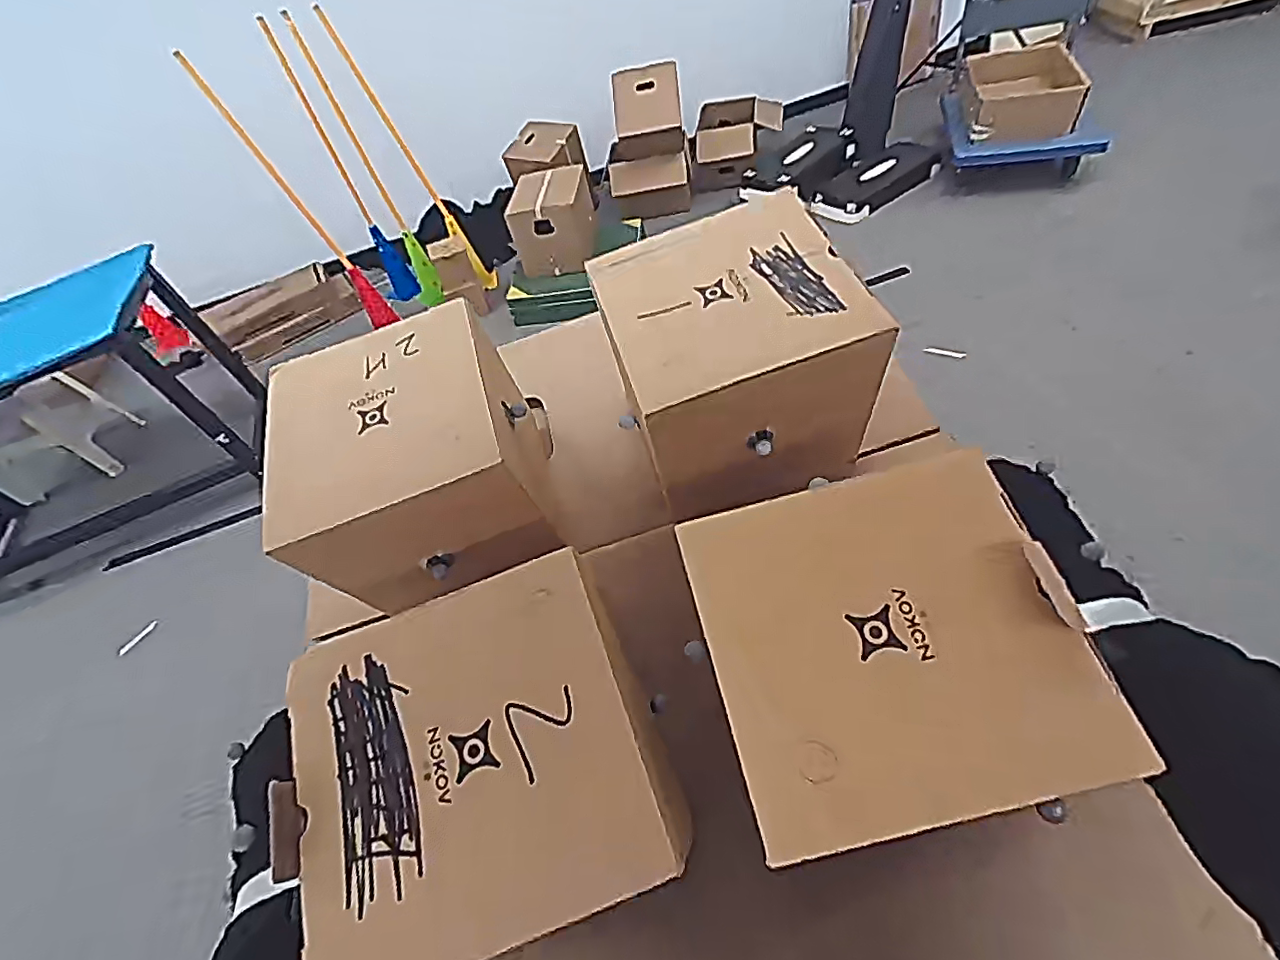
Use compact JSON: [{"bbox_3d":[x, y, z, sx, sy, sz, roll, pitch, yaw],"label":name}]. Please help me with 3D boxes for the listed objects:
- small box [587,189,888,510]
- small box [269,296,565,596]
[{"bbox_3d":[0.073,-0.099,0.458,0.179,0.176,0.168,-19,59,2],"label":"small box"},{"bbox_3d":[-0.177,-0.015,0.465,0.168,0.176,0.179,-20,59,0],"label":"small box"}]
